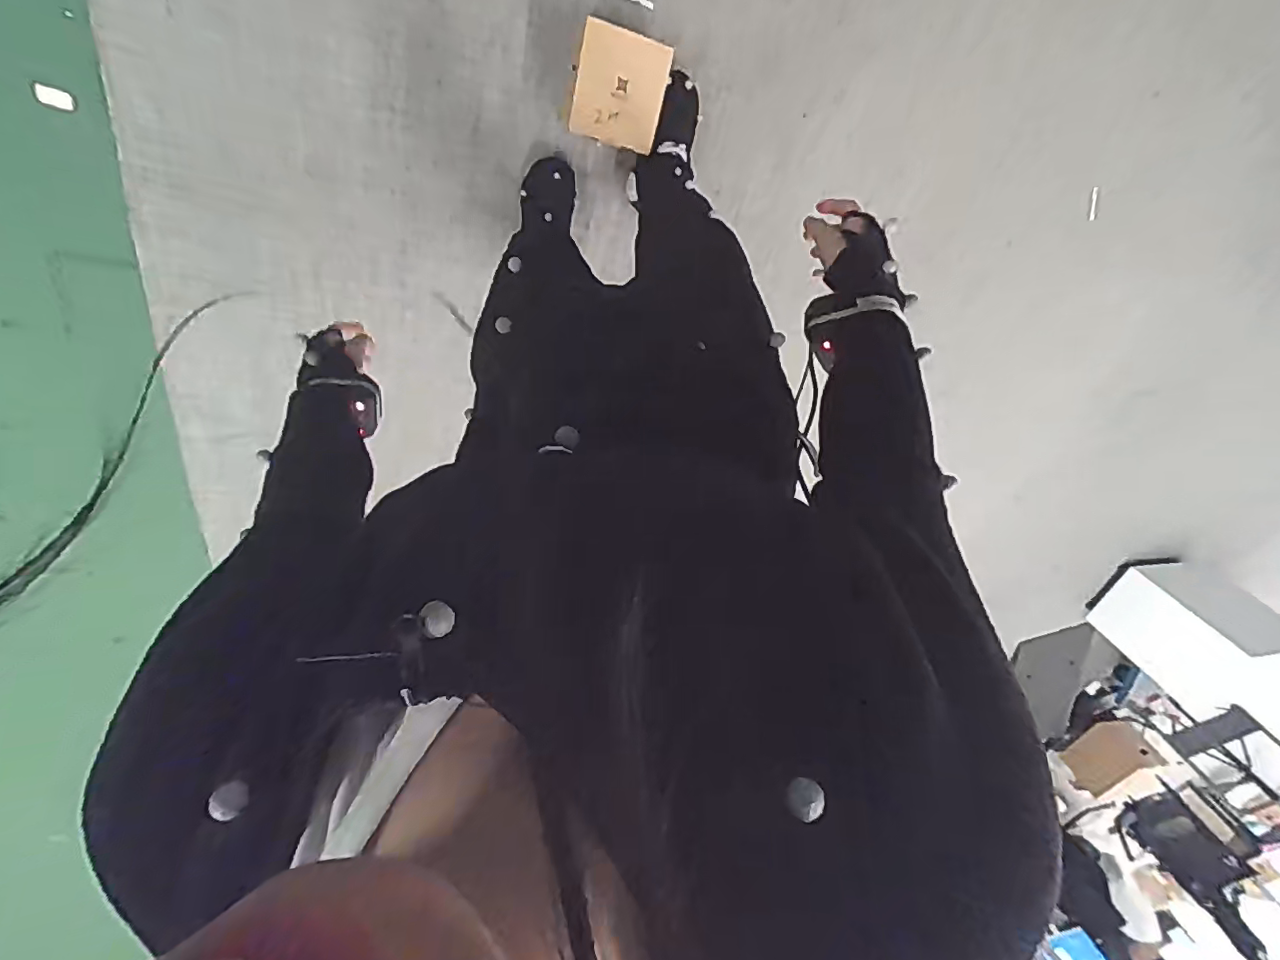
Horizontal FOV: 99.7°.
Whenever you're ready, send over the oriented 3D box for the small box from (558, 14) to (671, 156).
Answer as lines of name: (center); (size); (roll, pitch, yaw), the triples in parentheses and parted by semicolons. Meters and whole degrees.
small box: (-0.060, -0.761, 1.050); (0.168, 0.176, 0.179); (6, 125, -20)
